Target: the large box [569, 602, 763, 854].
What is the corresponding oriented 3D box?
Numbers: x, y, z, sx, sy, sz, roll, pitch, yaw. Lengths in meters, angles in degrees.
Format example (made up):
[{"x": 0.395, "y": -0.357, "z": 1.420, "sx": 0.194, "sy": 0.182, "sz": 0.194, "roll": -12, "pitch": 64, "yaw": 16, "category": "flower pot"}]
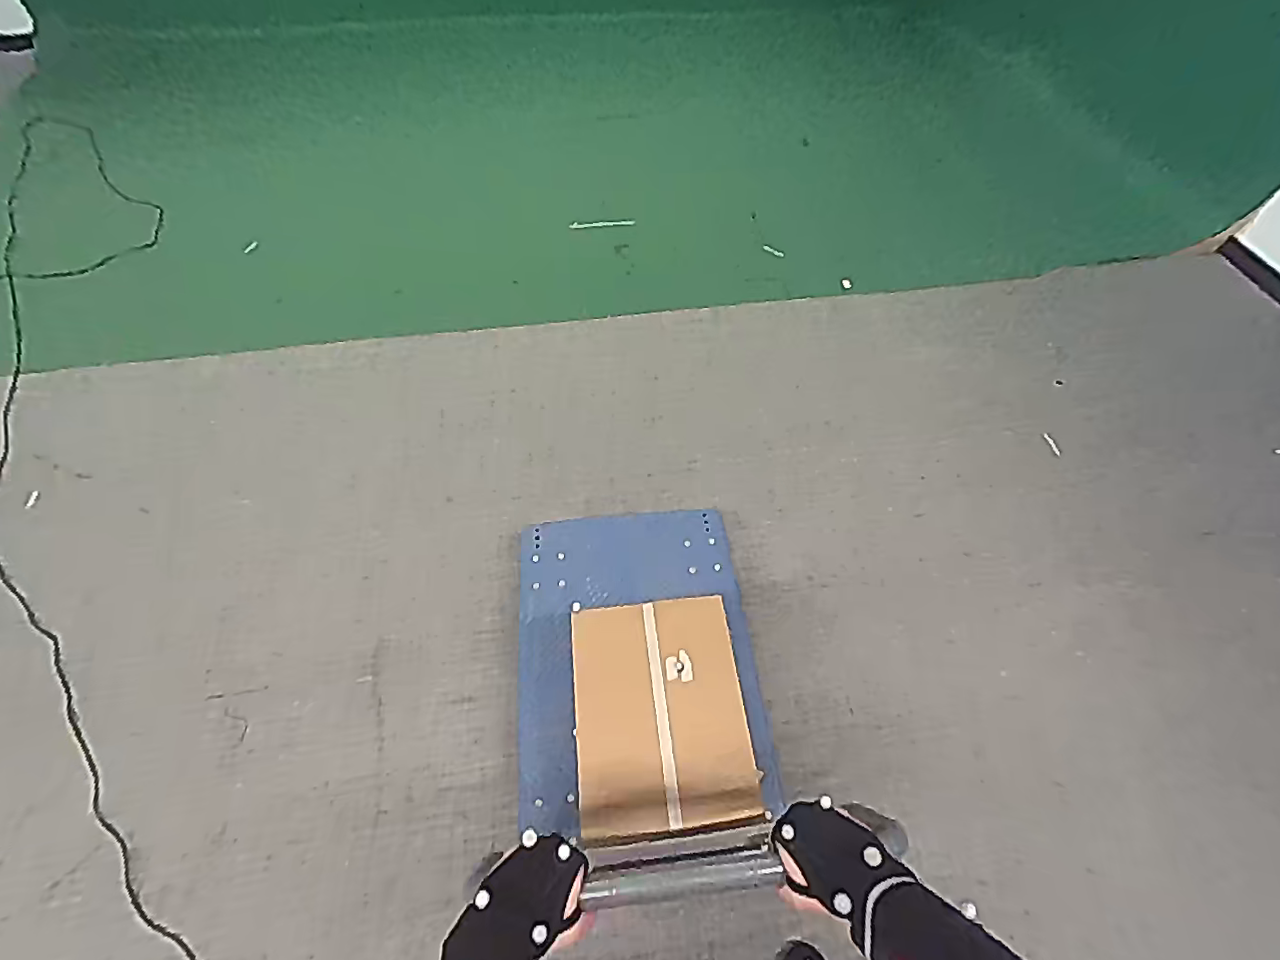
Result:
[{"x": 0.030, "y": 0.515, "z": 1.127, "sx": 0.320, "sy": 0.320, "sz": 0.408, "roll": -5, "pitch": 56, "yaw": -5, "category": "large box"}]
